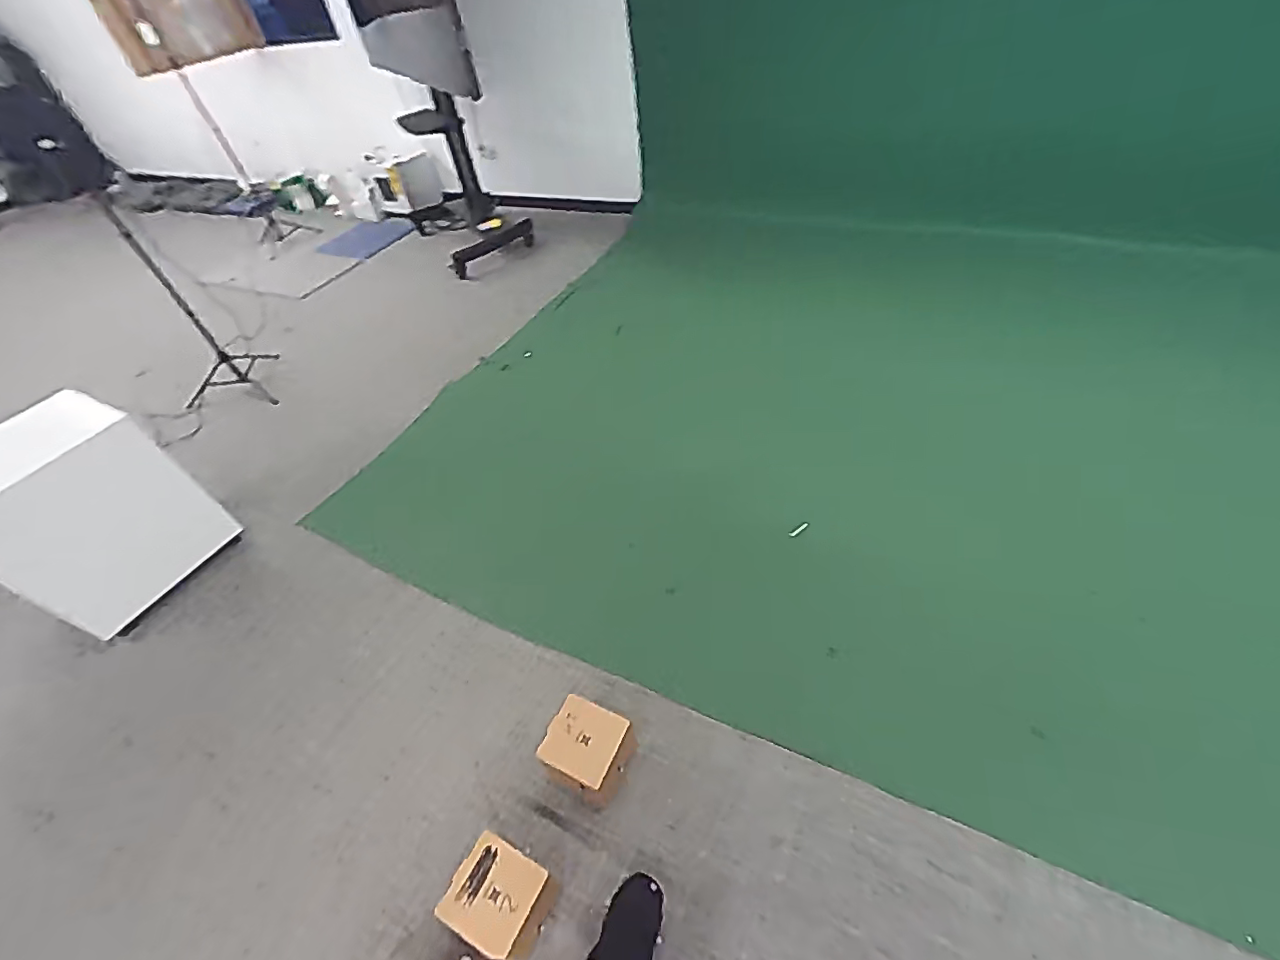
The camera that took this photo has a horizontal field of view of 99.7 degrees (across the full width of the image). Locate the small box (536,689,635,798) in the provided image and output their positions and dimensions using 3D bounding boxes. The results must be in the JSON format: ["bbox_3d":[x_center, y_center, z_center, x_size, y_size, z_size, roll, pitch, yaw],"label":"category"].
[{"bbox_3d":[-0.124,0.652,1.327,0.179,0.176,0.168,16,51,22],"label":"small box"}]
